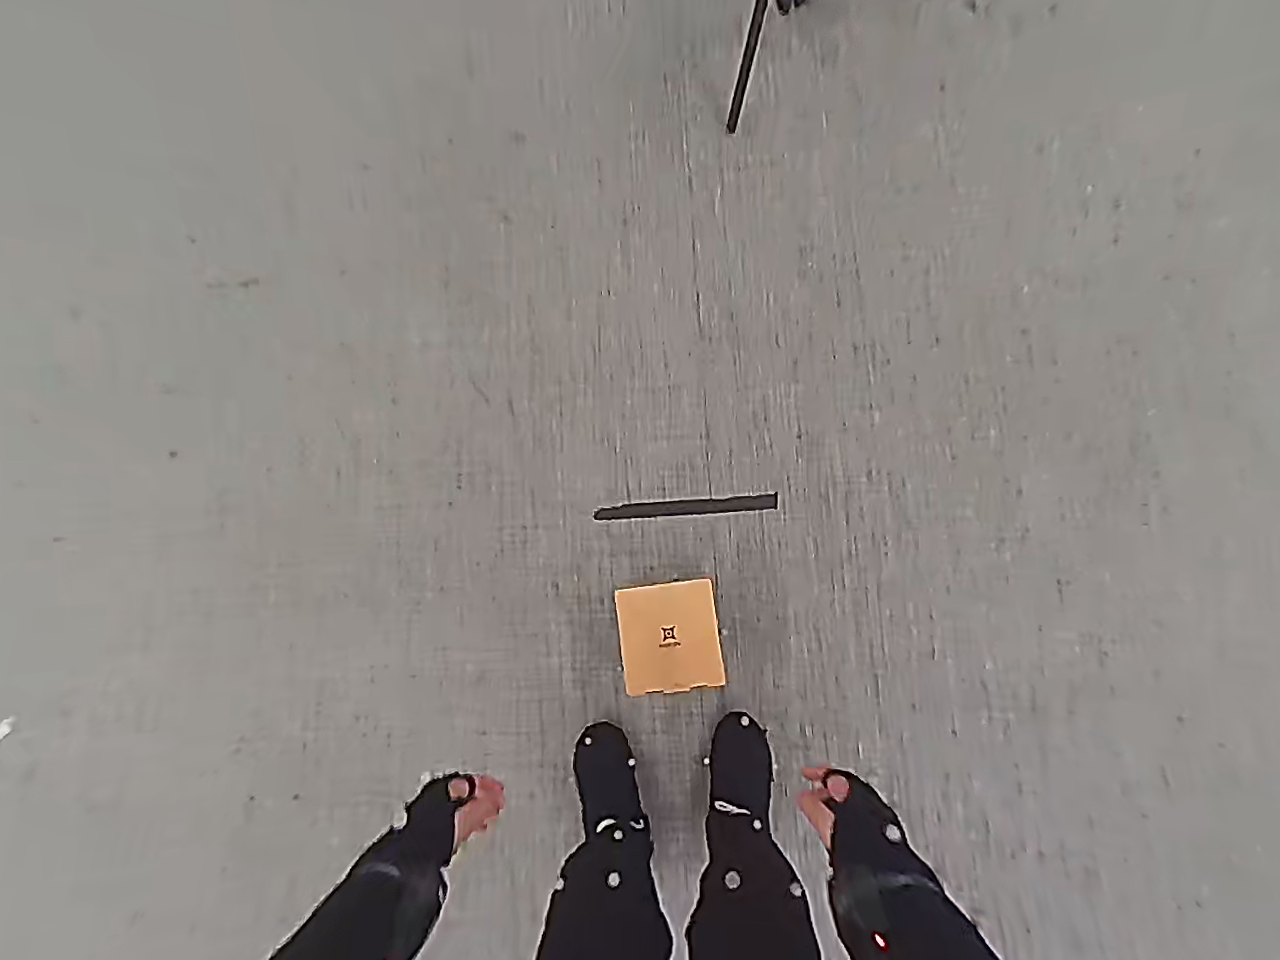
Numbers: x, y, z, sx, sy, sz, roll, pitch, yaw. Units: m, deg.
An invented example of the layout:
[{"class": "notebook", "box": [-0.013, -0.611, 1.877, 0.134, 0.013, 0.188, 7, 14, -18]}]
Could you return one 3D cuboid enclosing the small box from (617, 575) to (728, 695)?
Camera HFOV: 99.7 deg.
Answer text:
[{"class": "small box", "box": [0.056, 0.265, 0.963, 0.168, 0.176, 0.179, -8, 83, 3]}]
